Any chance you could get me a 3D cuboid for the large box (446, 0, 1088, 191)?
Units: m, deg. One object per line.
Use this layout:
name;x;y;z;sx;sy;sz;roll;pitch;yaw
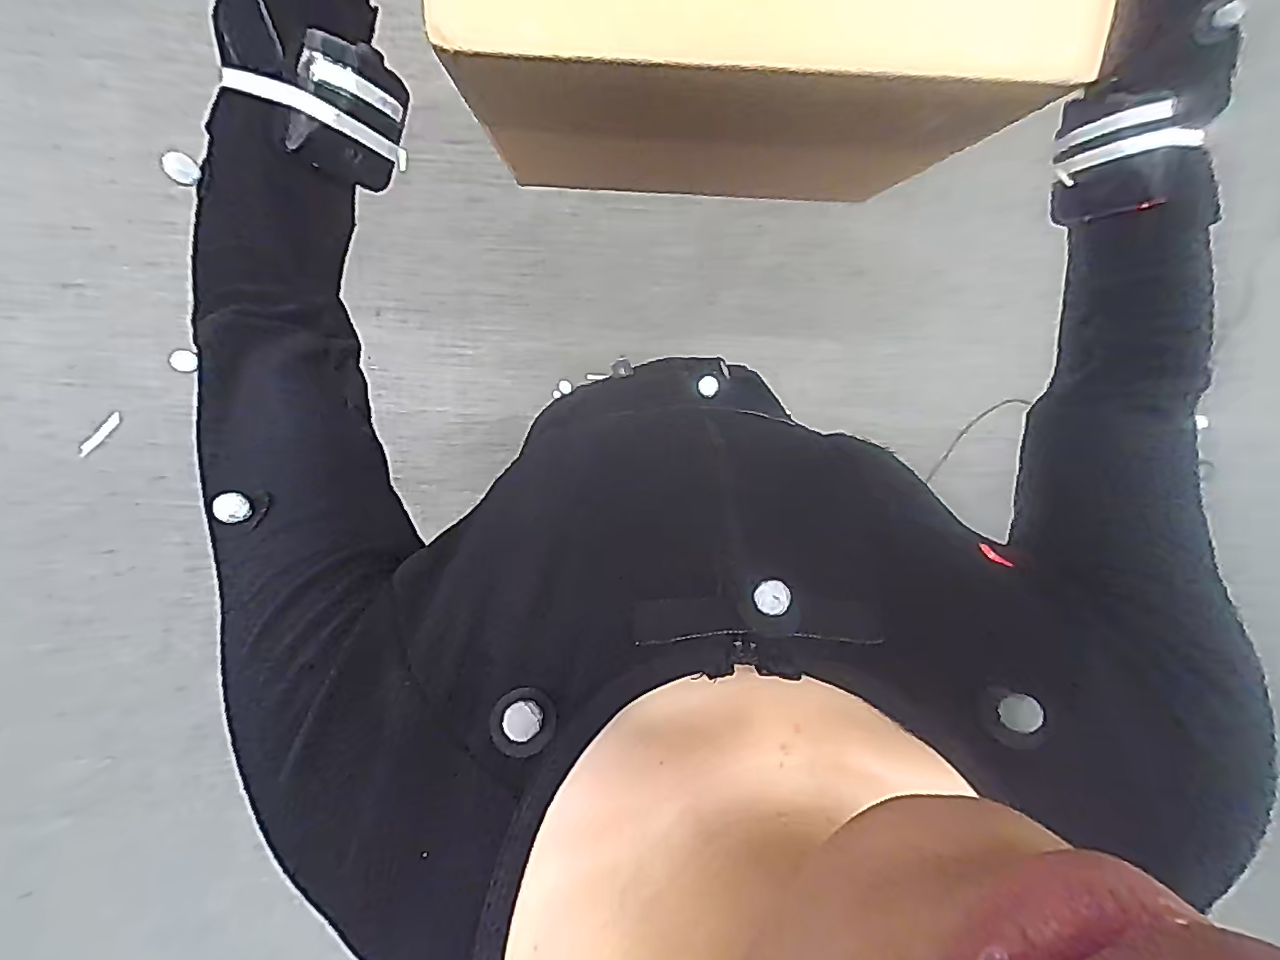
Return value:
large box;0.071;-0.443;0.440;0.408;0.320;0.320;0;106;-4
